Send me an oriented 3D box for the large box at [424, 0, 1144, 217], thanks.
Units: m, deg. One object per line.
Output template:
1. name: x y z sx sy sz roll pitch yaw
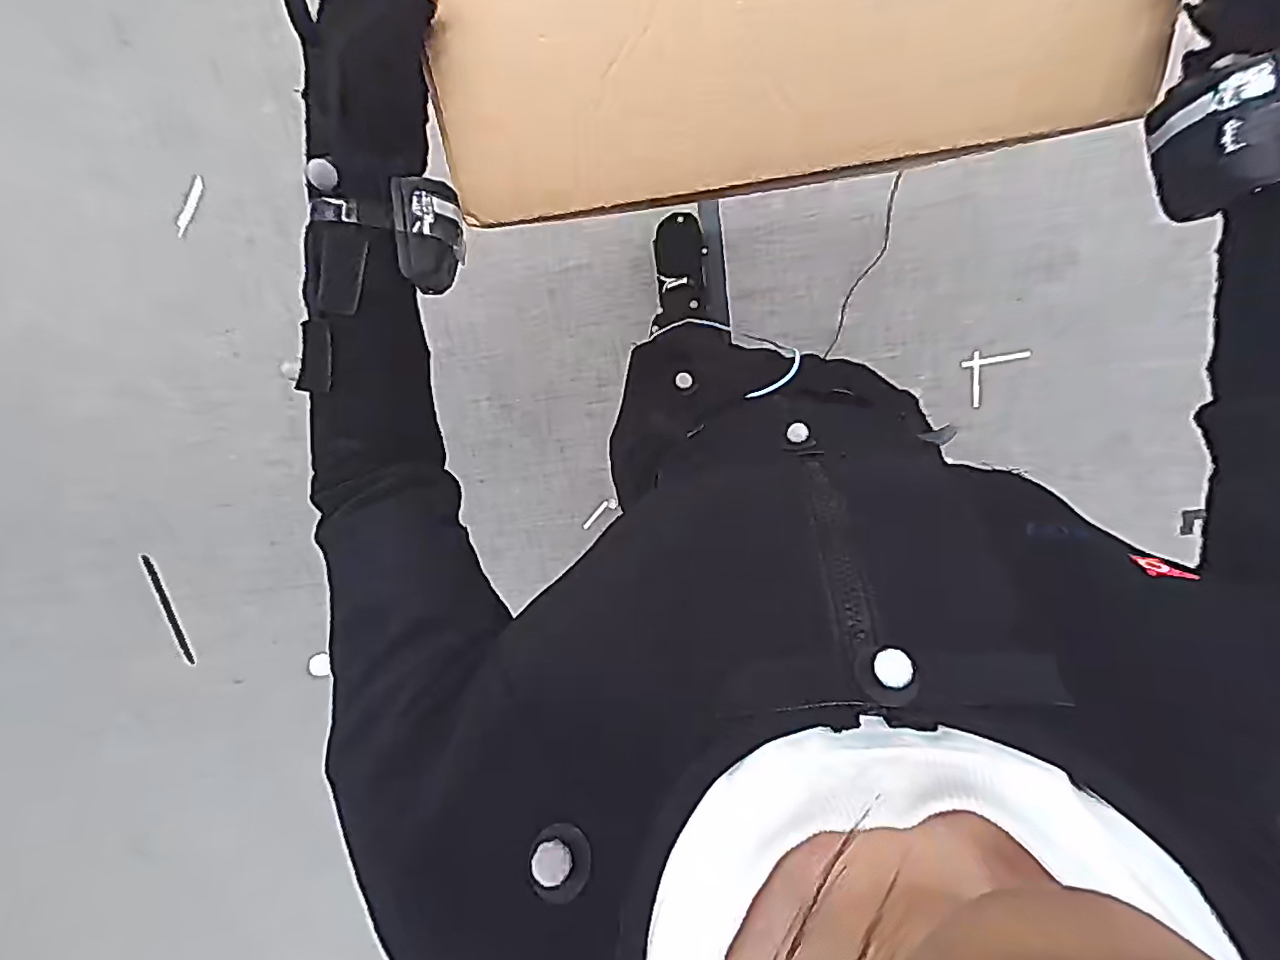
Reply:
1. large box: 0.074 -0.402 0.409 0.408 0.320 0.320 -5 116 9
